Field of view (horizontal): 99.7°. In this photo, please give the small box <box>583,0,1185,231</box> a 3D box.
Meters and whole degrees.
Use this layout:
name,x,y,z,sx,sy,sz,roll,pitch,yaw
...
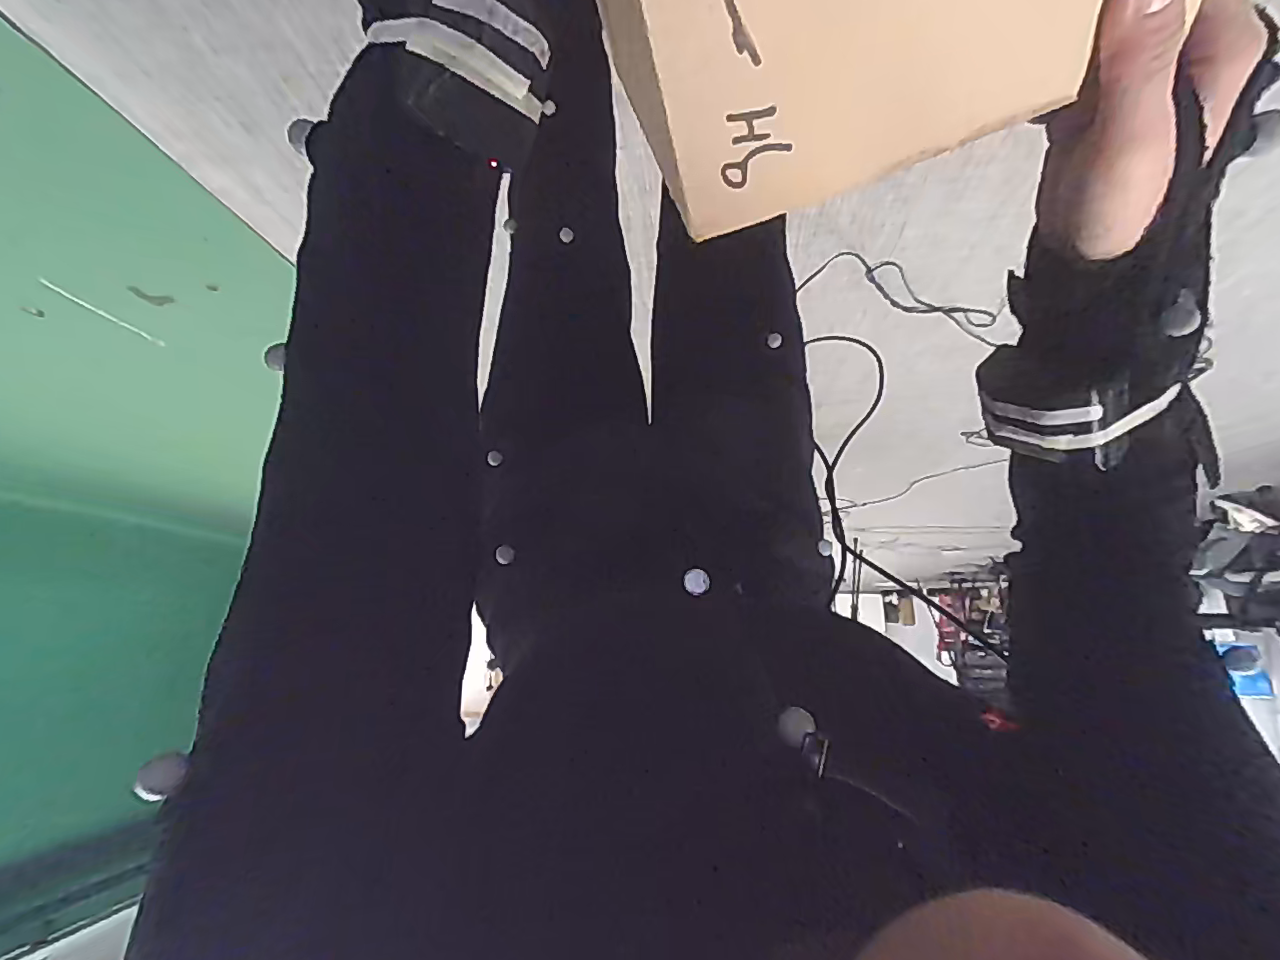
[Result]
name,x,y,z,sx,sy,sz,roll,pitch,yaw
small box,0.060,-0.225,0.173,0.179,0.176,0.168,-19,145,6
